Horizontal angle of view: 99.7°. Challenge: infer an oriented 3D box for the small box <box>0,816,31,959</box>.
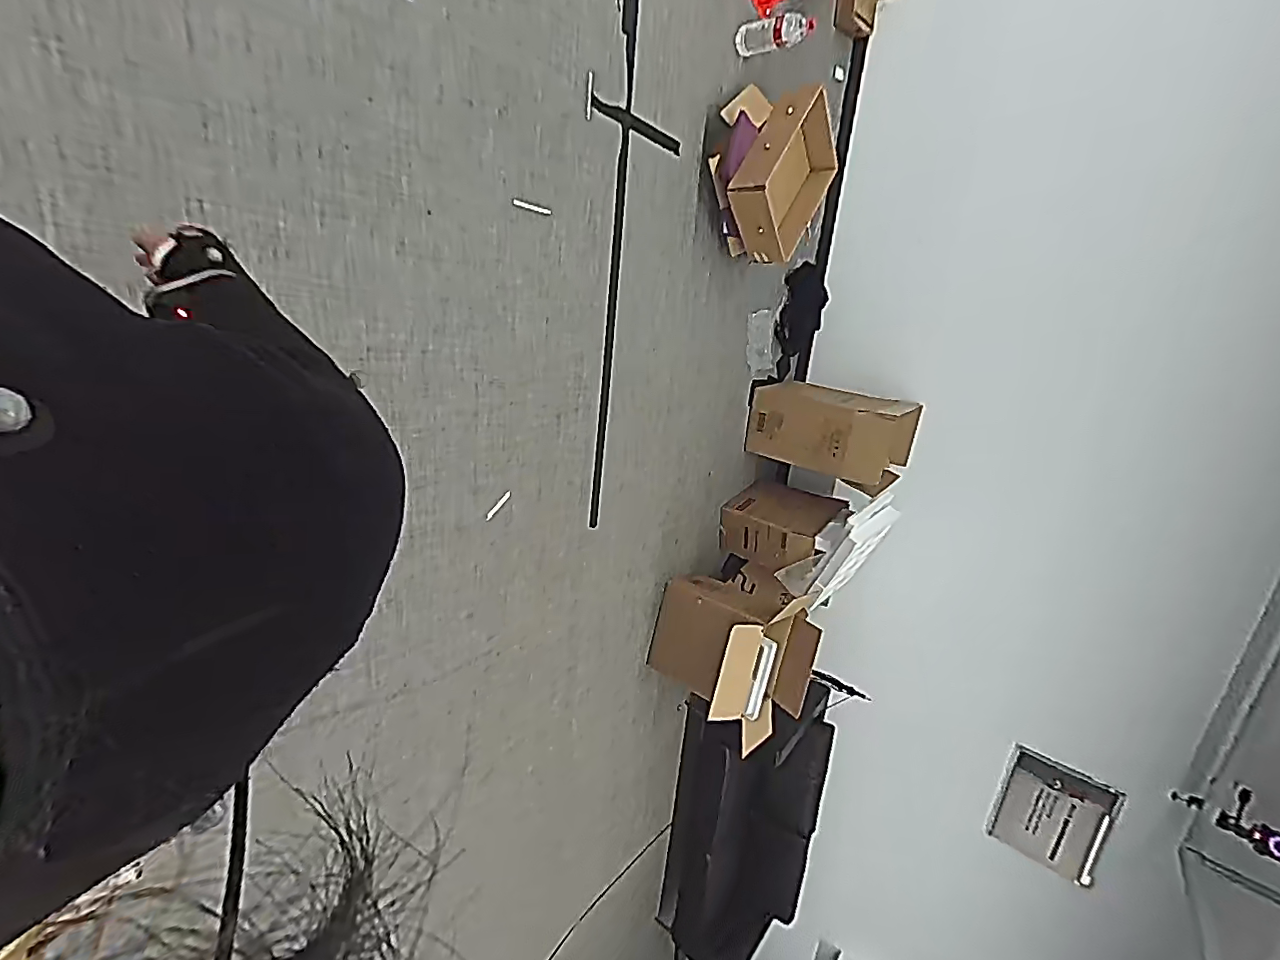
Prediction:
[{"bbox_3d":[-0.905,0.570,0.679,0.168,0.176,0.179,-14,112,-50],"label":"small box"}]
